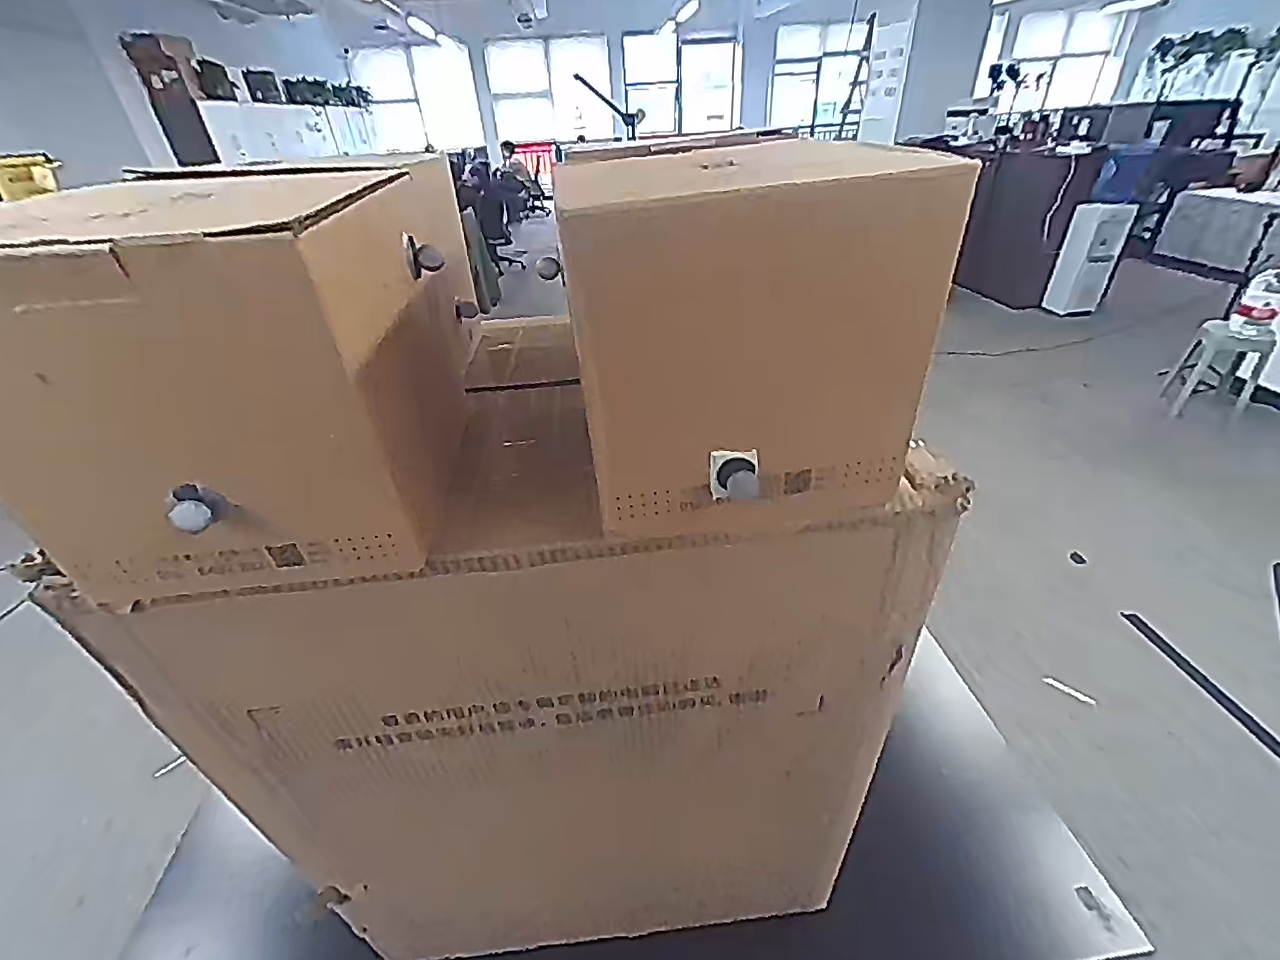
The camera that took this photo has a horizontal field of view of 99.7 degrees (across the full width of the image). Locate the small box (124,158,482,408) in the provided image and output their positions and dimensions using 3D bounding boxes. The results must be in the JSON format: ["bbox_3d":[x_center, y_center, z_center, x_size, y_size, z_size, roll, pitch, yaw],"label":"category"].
[{"bbox_3d":[-0.248,-0.169,0.458,0.179,0.176,0.168,-4,33,-3],"label":"small box"}]
